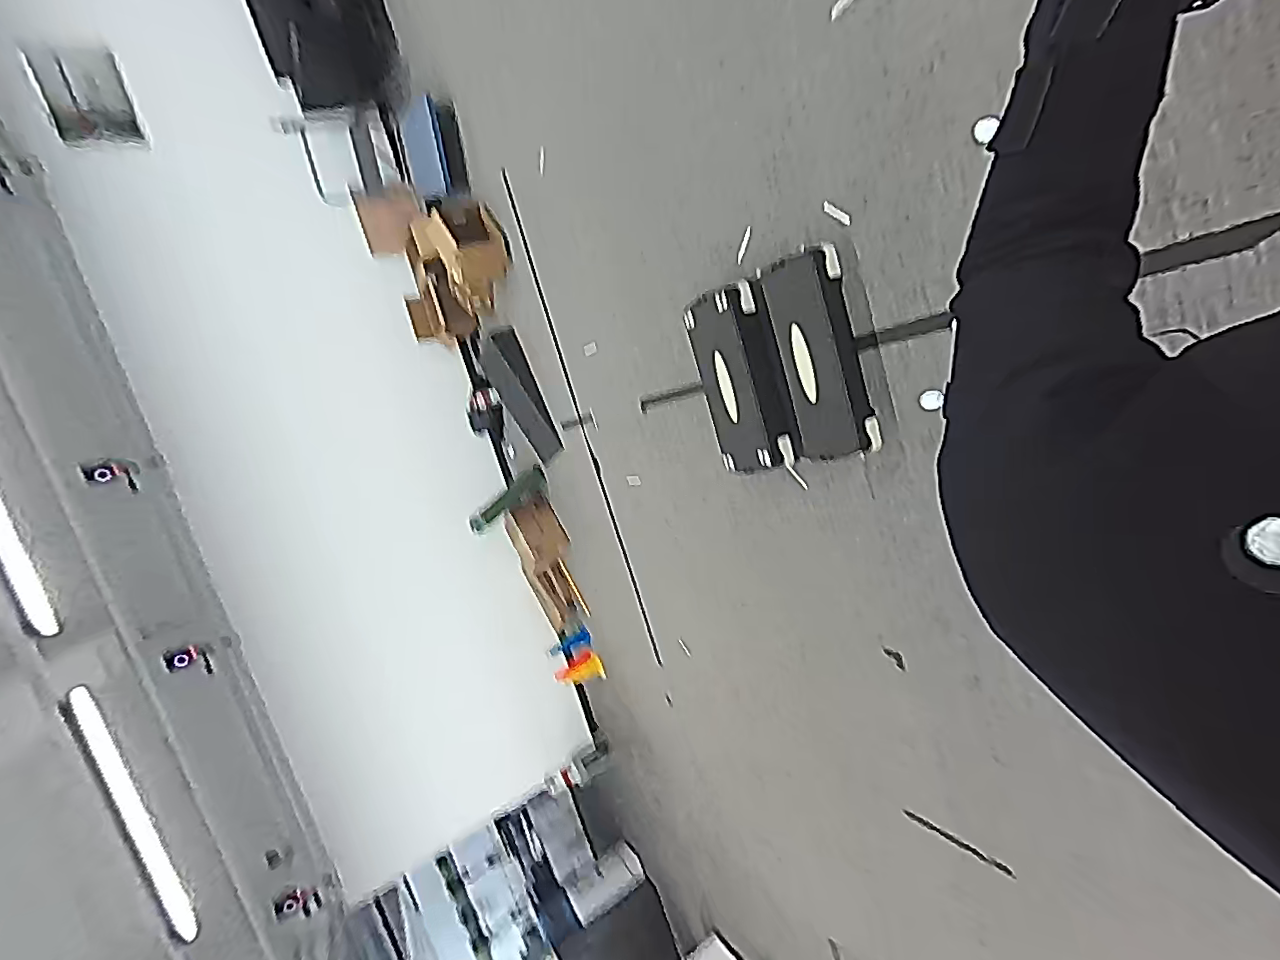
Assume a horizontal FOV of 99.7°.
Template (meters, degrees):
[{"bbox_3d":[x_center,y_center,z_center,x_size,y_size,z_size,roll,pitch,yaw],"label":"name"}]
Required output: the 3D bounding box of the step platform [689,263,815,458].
[{"bbox_3d":[0.406,-0.422,2.000,0.286,0.204,0.684,-5,103,61],"label":"step platform"}]
